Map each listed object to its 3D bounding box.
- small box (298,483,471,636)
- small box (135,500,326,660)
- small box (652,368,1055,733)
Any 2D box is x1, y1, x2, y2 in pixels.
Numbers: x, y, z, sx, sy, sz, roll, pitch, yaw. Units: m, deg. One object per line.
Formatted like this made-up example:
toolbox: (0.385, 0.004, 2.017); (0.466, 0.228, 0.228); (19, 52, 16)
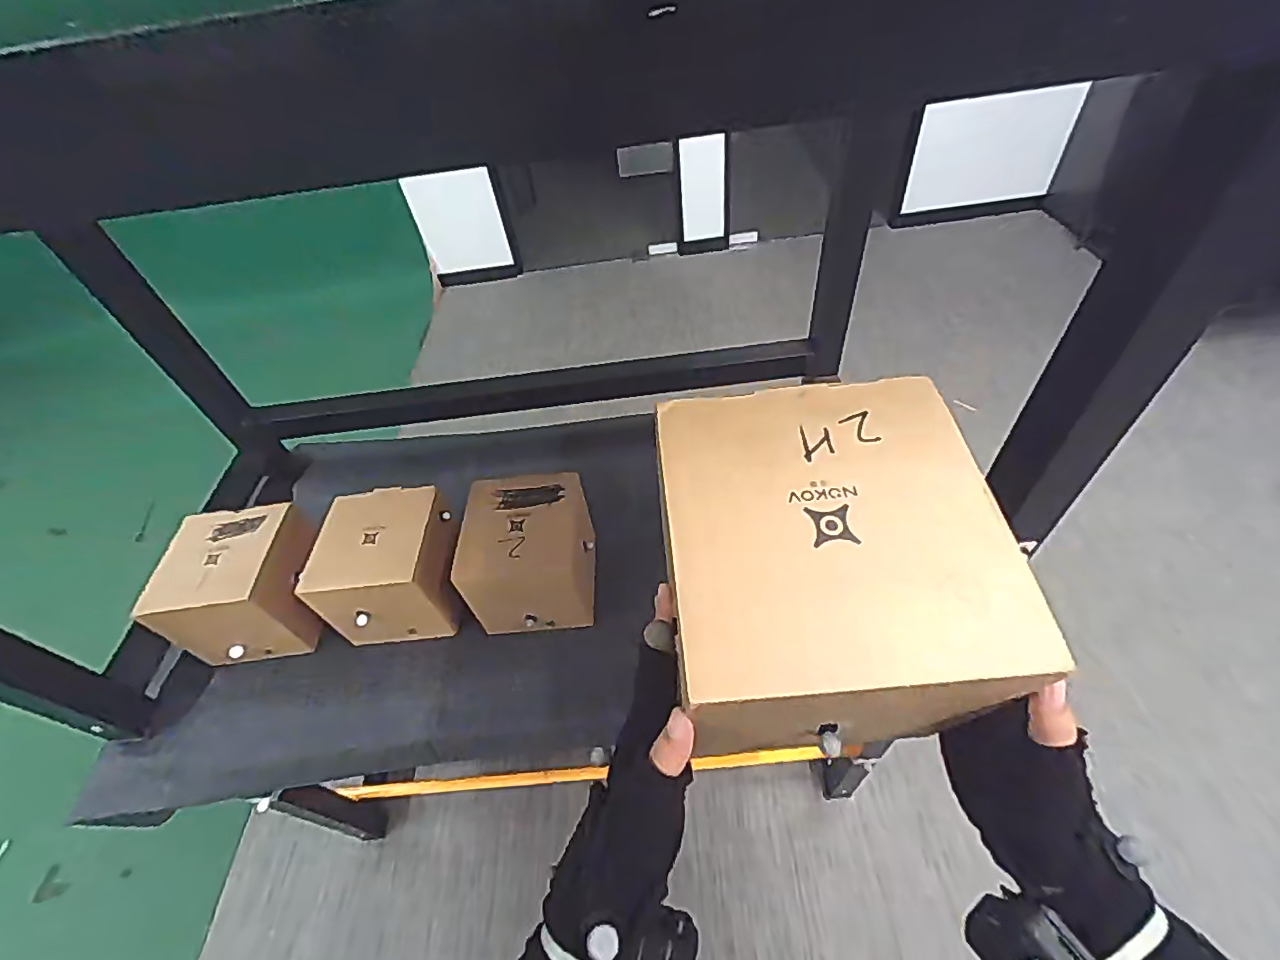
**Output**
small box: (-0.378, 0.129, 0.840); (0.168, 0.176, 0.179); (-6, 47, 2)
small box: (-0.603, 0.157, 0.844); (0.168, 0.176, 0.179); (-8, 48, 1)
small box: (0.098, 0.056, 0.343); (0.168, 0.176, 0.179); (-4, 56, 1)
